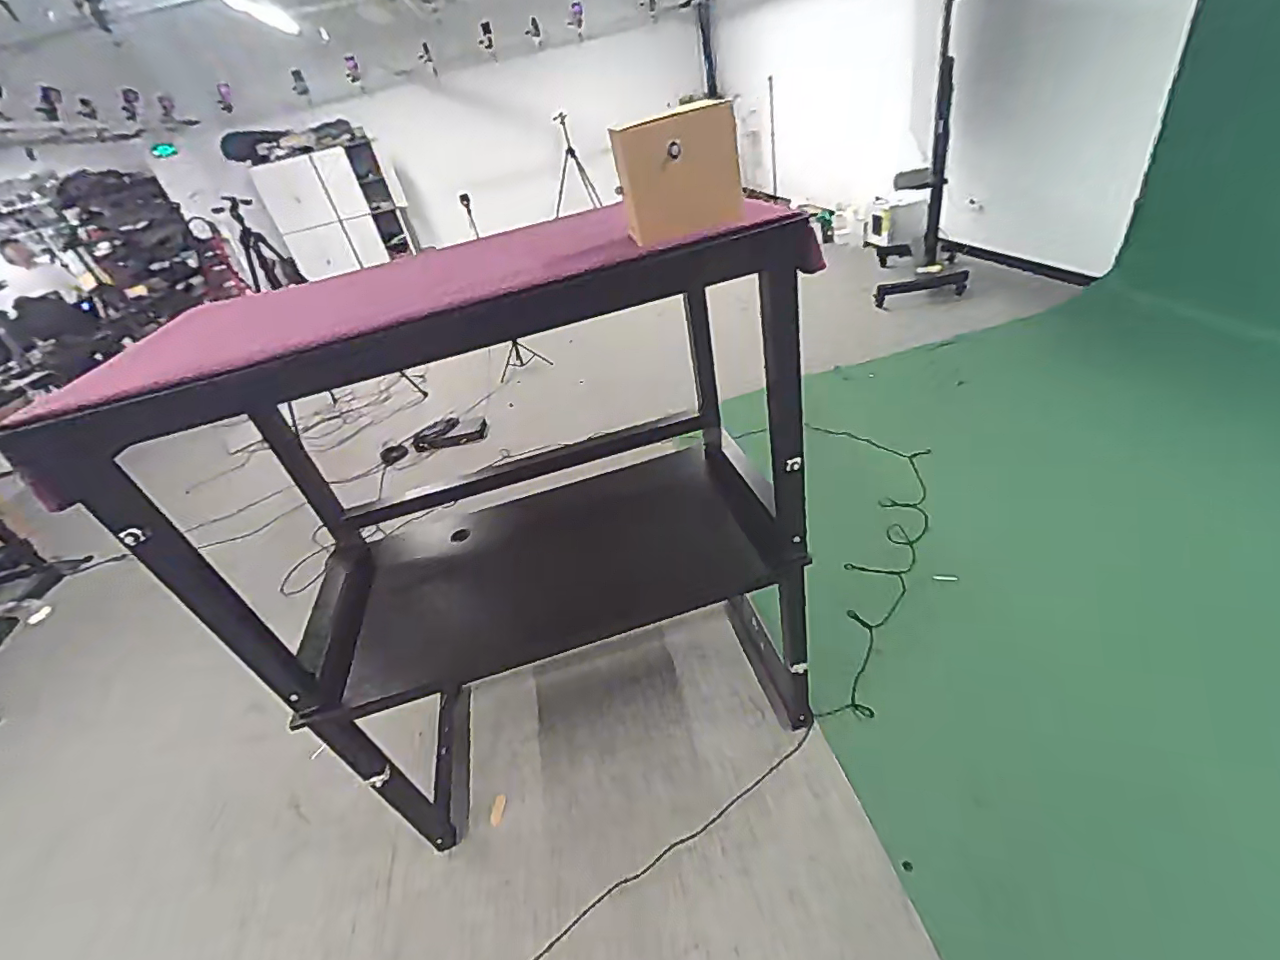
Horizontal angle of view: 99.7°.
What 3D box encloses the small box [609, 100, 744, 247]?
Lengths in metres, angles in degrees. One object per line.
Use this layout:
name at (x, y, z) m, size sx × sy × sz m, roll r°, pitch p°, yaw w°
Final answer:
small box at (0.058, -0.497, 0.882) m, size 0.179 × 0.176 × 0.168 m, roll -15°, pitch 36°, yaw 1°
